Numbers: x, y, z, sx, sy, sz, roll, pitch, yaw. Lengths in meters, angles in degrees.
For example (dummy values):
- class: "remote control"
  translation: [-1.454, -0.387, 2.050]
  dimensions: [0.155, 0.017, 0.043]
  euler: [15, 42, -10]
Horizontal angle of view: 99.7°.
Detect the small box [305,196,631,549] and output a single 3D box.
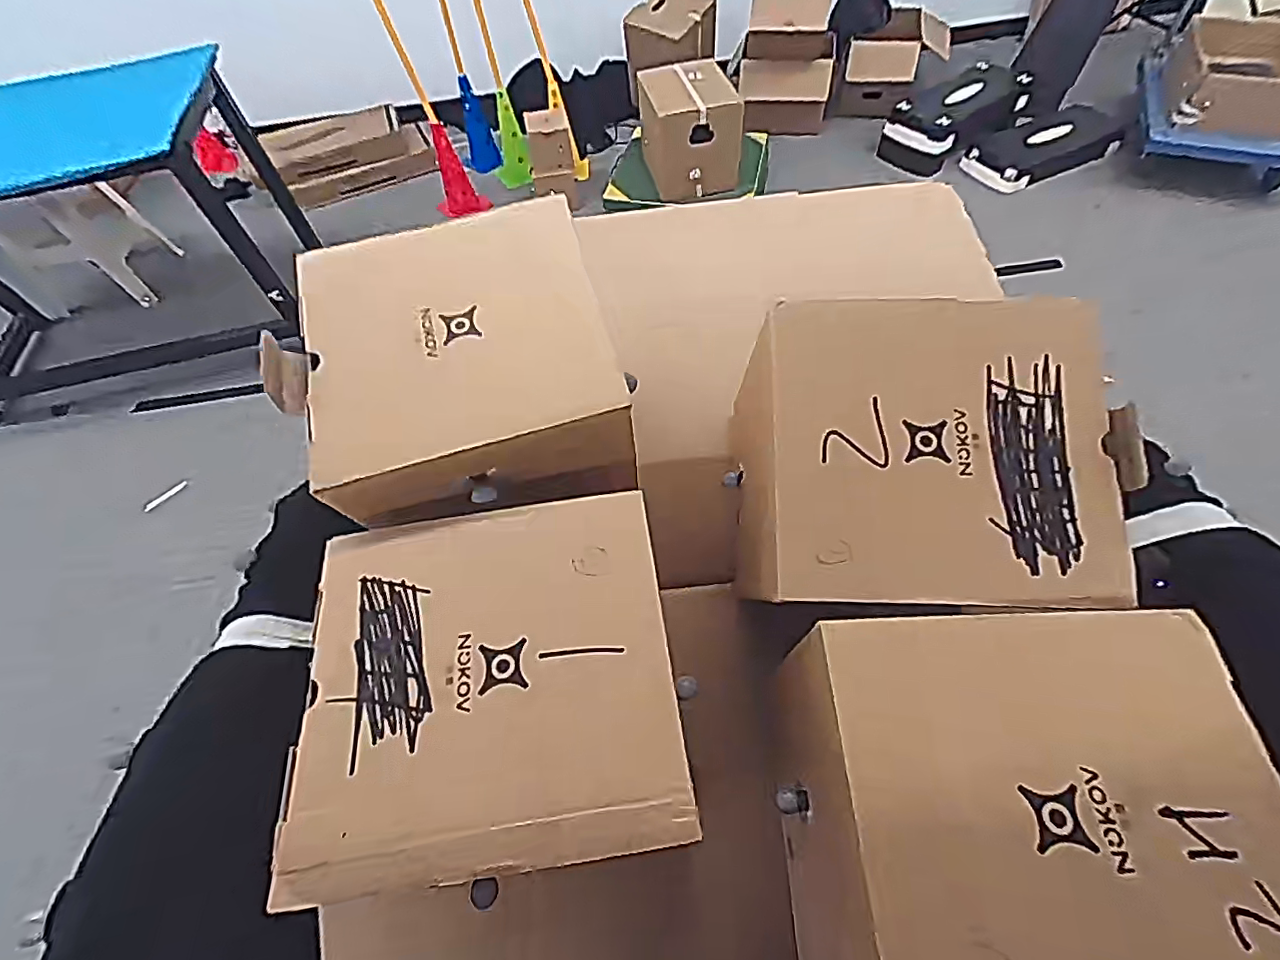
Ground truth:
- class: "small box"
  translation: [-0.108, -0.065, 0.400]
  dimensions: [0.179, 0.176, 0.168]
  euler: [-16, 68, -3]
